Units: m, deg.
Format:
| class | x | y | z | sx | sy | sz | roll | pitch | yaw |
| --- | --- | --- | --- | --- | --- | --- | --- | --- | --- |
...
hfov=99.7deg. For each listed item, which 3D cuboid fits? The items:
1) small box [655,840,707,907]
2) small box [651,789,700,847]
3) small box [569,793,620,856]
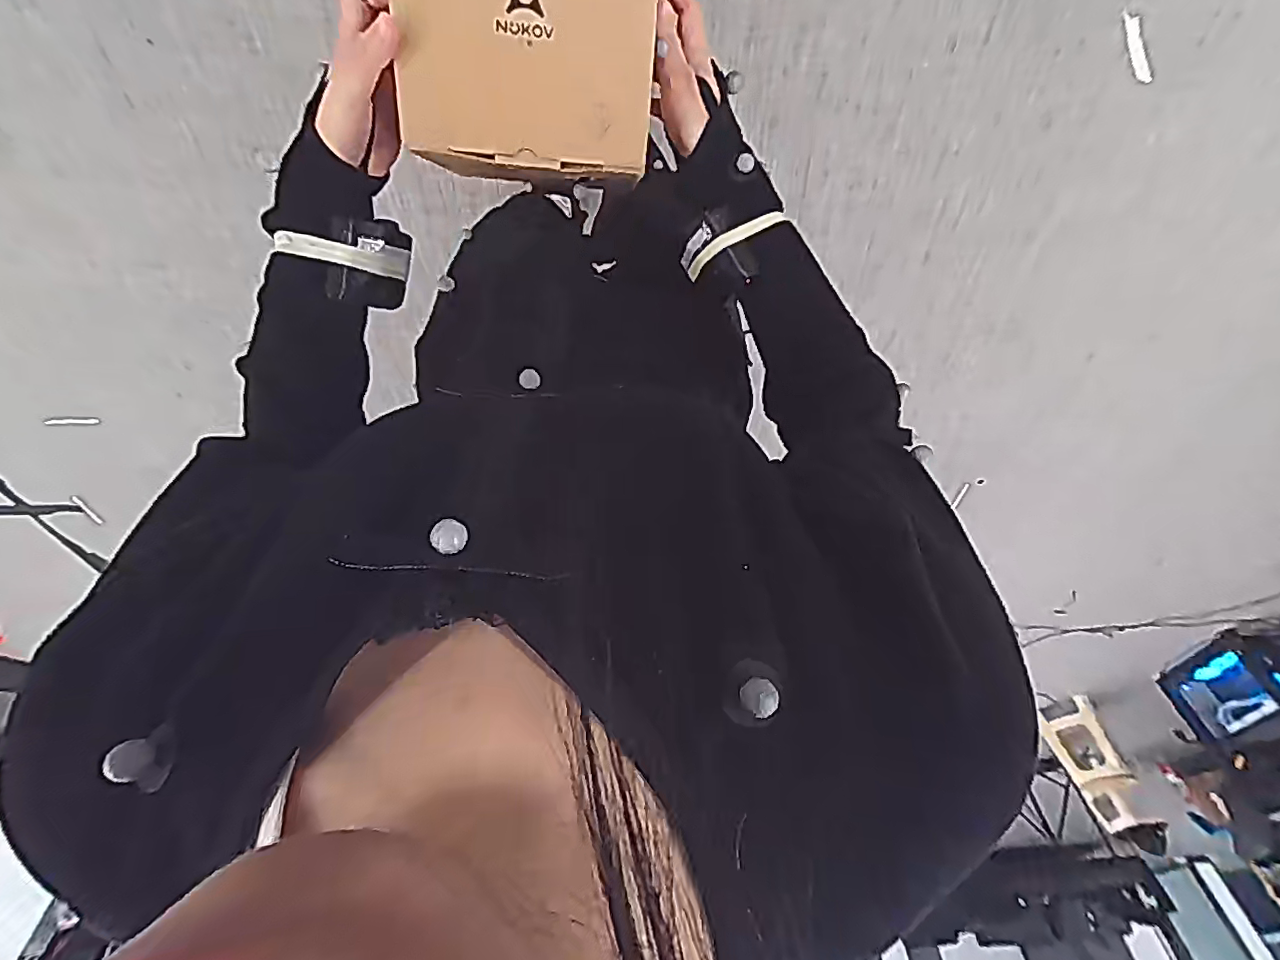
| class | x | y | z | sx | sy | sz | roll | pitch | yaw |
| --- | --- | --- | --- | --- | --- | --- | --- | --- | --- |
| small box | 0.142 | 1.383 | 1.900 | 0.179 | 0.176 | 0.168 | -5 | 136 | 2 |
| small box | 0.130 | 1.262 | 2.010 | 0.168 | 0.176 | 0.179 | -4 | 136 | 1 |
| small box | -0.165 | 1.274 | 2.004 | 0.179 | 0.176 | 0.168 | -2 | 135 | 0 |
